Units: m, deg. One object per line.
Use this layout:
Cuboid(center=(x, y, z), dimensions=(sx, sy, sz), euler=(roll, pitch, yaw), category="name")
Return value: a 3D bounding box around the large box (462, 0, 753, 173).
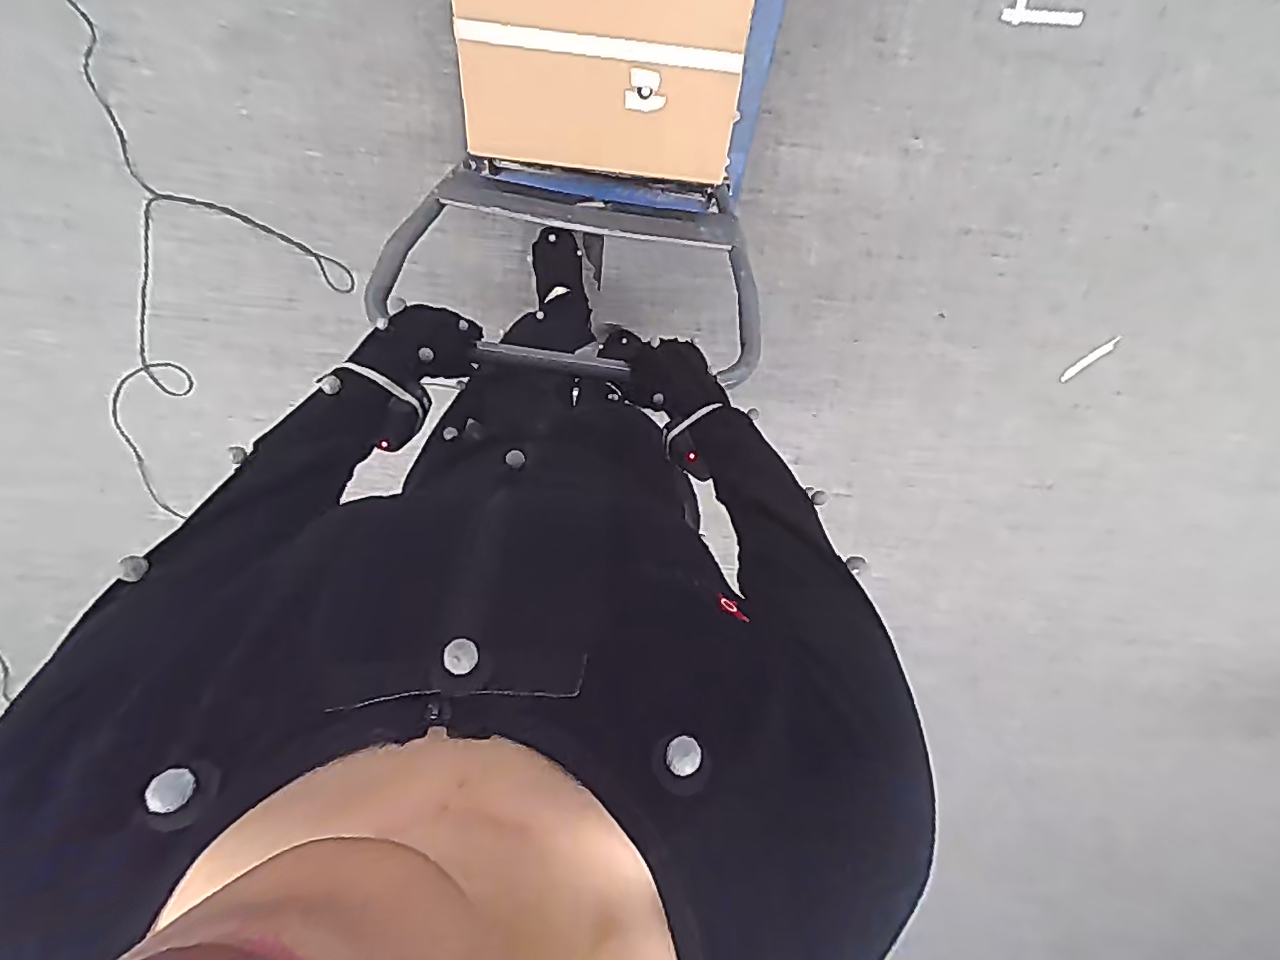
Cuboid(center=(-0.049, -0.723, 0.878), dimensions=(0.408, 0.320, 0.320), euler=(4, 132, -3), category="large box")
